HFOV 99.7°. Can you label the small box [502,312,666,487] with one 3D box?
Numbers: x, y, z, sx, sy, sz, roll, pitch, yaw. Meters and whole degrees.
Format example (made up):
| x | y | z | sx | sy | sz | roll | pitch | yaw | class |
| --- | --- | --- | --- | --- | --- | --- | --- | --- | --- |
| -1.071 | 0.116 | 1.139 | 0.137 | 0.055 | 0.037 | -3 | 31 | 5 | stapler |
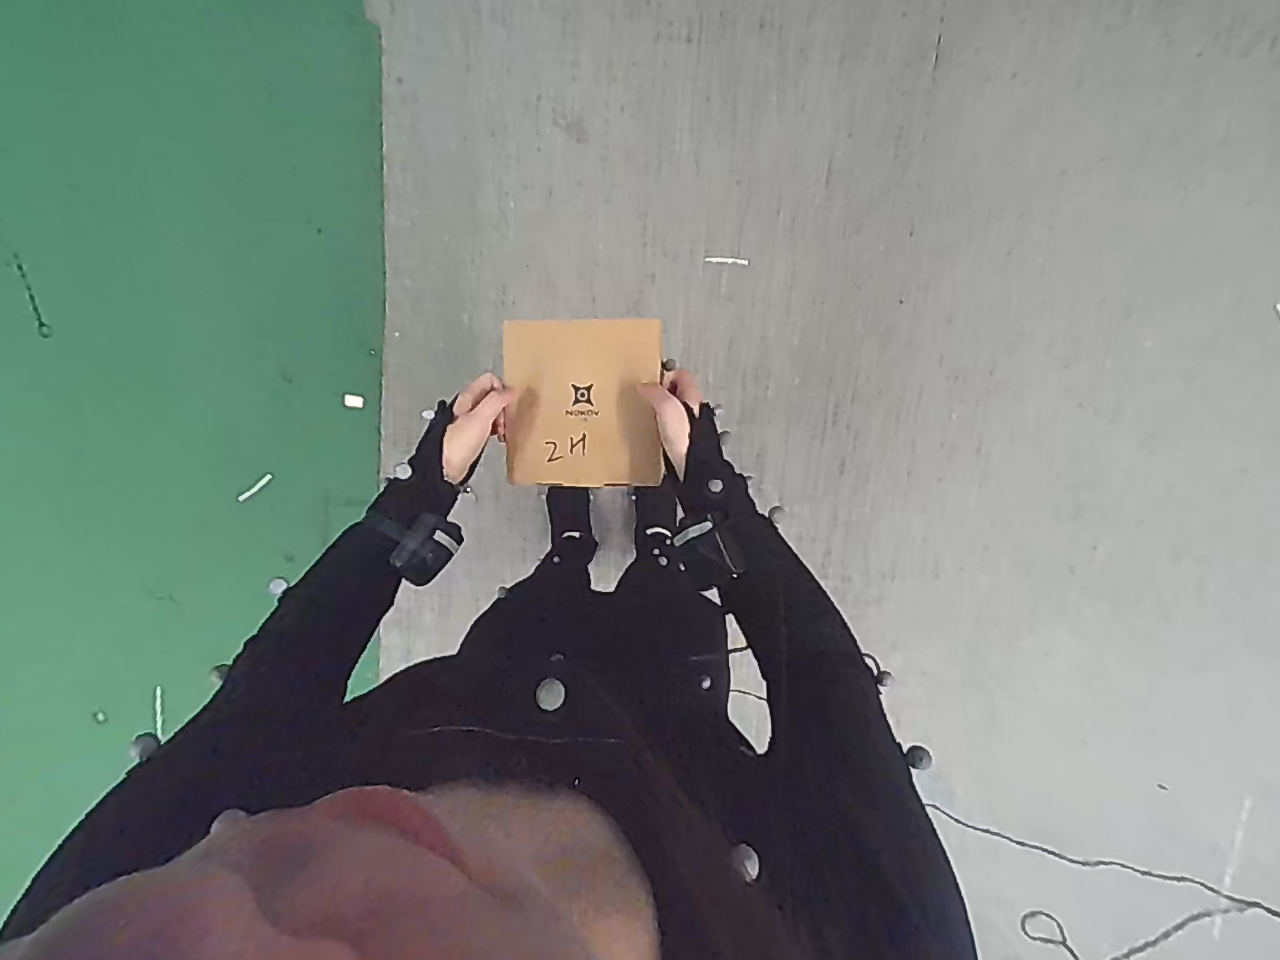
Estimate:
| x | y | z | sx | sy | sz | roll | pitch | yaw | class |
| --- | --- | --- | --- | --- | --- | --- | --- | --- | --- |
| -0.055 | -0.089 | 0.629 | 0.168 | 0.176 | 0.179 | 1 | 96 | 4 | small box |
